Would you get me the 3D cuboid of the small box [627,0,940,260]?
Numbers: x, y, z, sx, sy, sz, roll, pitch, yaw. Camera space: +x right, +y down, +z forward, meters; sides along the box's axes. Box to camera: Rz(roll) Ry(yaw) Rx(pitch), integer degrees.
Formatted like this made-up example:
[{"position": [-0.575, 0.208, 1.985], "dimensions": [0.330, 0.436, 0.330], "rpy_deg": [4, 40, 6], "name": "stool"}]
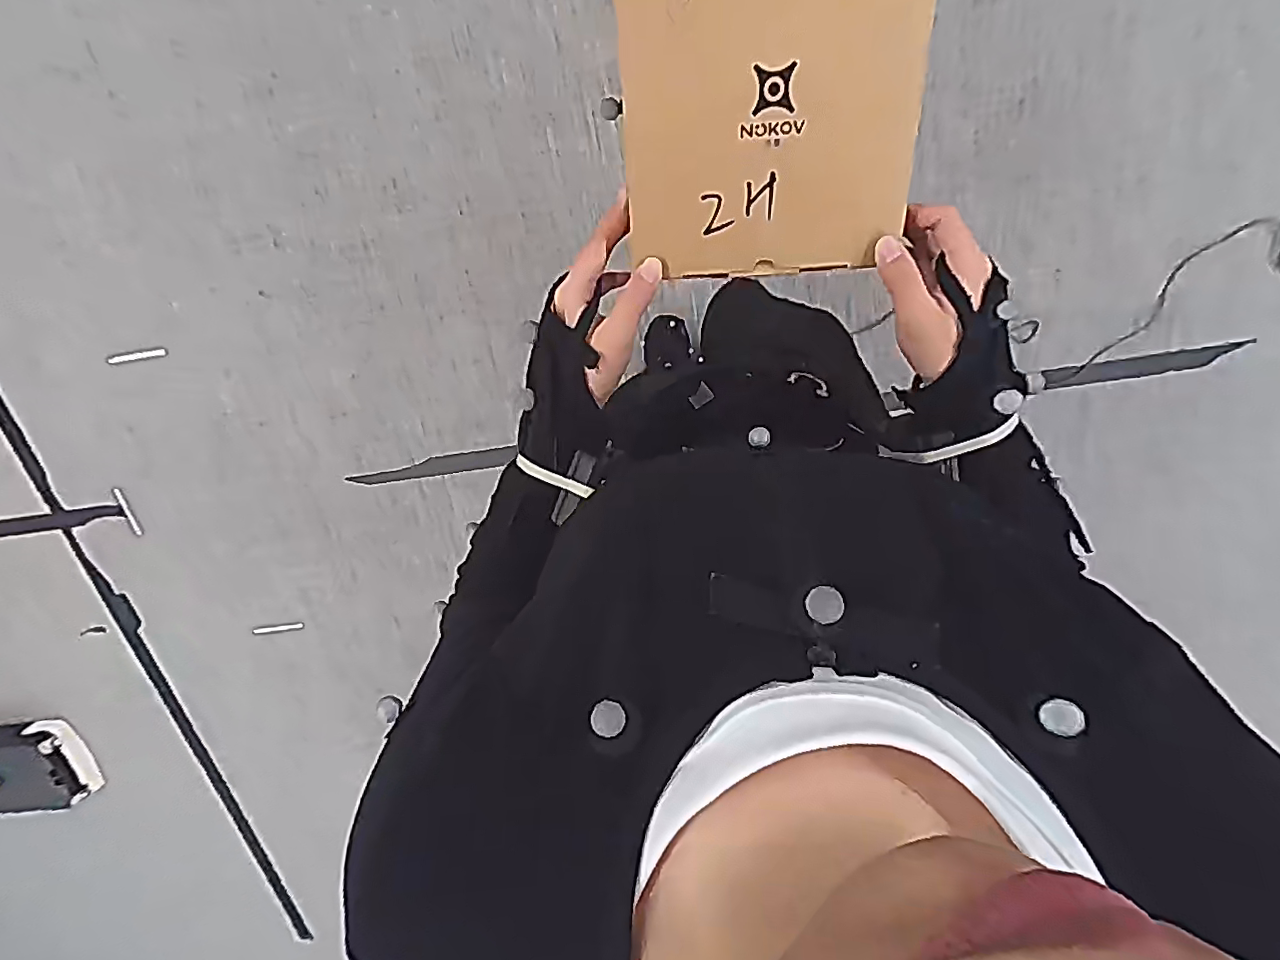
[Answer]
[{"position": [0.076, -0.251, 0.368], "dimensions": [0.168, 0.176, 0.179], "rpy_deg": [-2, 116, 3], "name": "small box"}]
